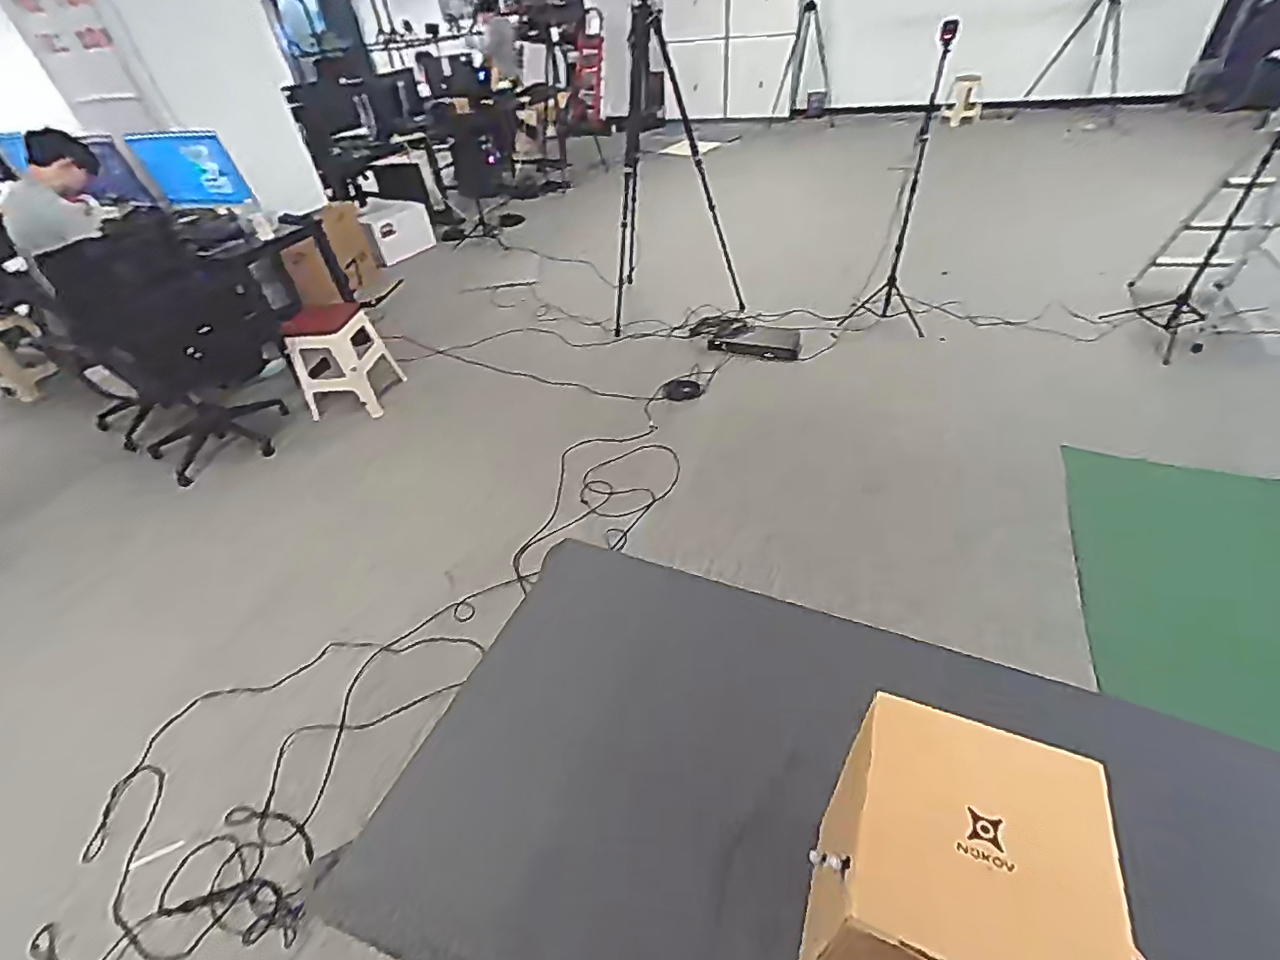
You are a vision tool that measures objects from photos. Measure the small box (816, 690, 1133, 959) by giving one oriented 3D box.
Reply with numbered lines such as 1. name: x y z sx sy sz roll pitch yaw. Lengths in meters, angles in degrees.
1. small box: 0.250 0.314 0.441 0.168 0.176 0.179 14 45 20

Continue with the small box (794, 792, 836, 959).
1. small box: 0.259 0.438 0.544 0.168 0.176 0.179 13 45 20
